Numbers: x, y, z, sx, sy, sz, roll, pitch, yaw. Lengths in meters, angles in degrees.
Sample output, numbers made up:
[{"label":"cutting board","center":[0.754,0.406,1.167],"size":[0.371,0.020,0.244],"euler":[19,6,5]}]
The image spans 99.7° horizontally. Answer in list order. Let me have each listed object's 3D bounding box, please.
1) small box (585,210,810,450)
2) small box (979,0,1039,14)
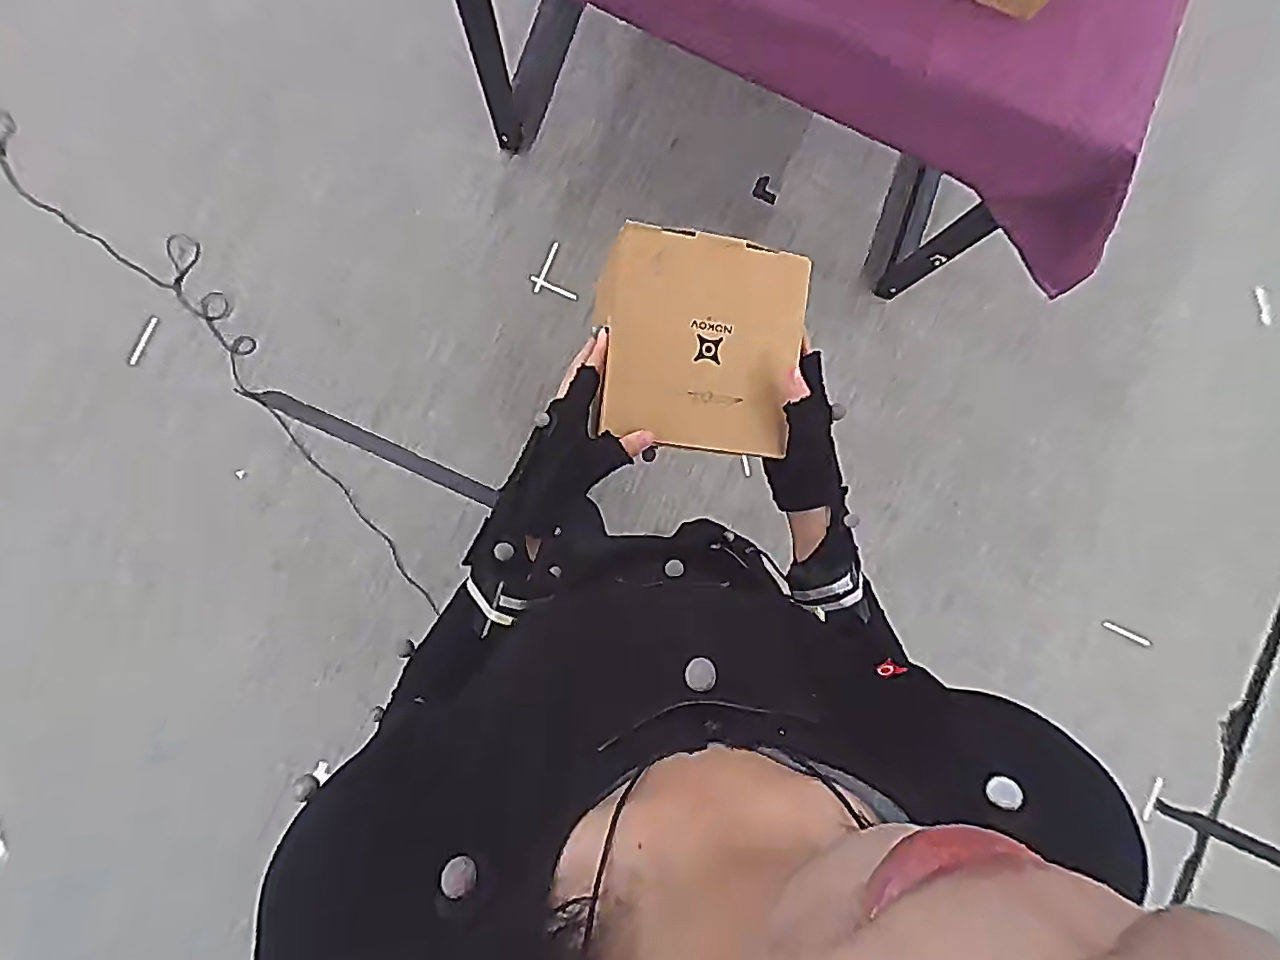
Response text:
[{"label":"small box","center":[0.041,-0.125,0.522],"size":[0.168,0.176,0.179],"euler":[6,94,-11]},{"label":"small box","center":[0.543,-0.803,0.742],"size":[0.179,0.176,0.168],"euler":[18,88,-4]}]
